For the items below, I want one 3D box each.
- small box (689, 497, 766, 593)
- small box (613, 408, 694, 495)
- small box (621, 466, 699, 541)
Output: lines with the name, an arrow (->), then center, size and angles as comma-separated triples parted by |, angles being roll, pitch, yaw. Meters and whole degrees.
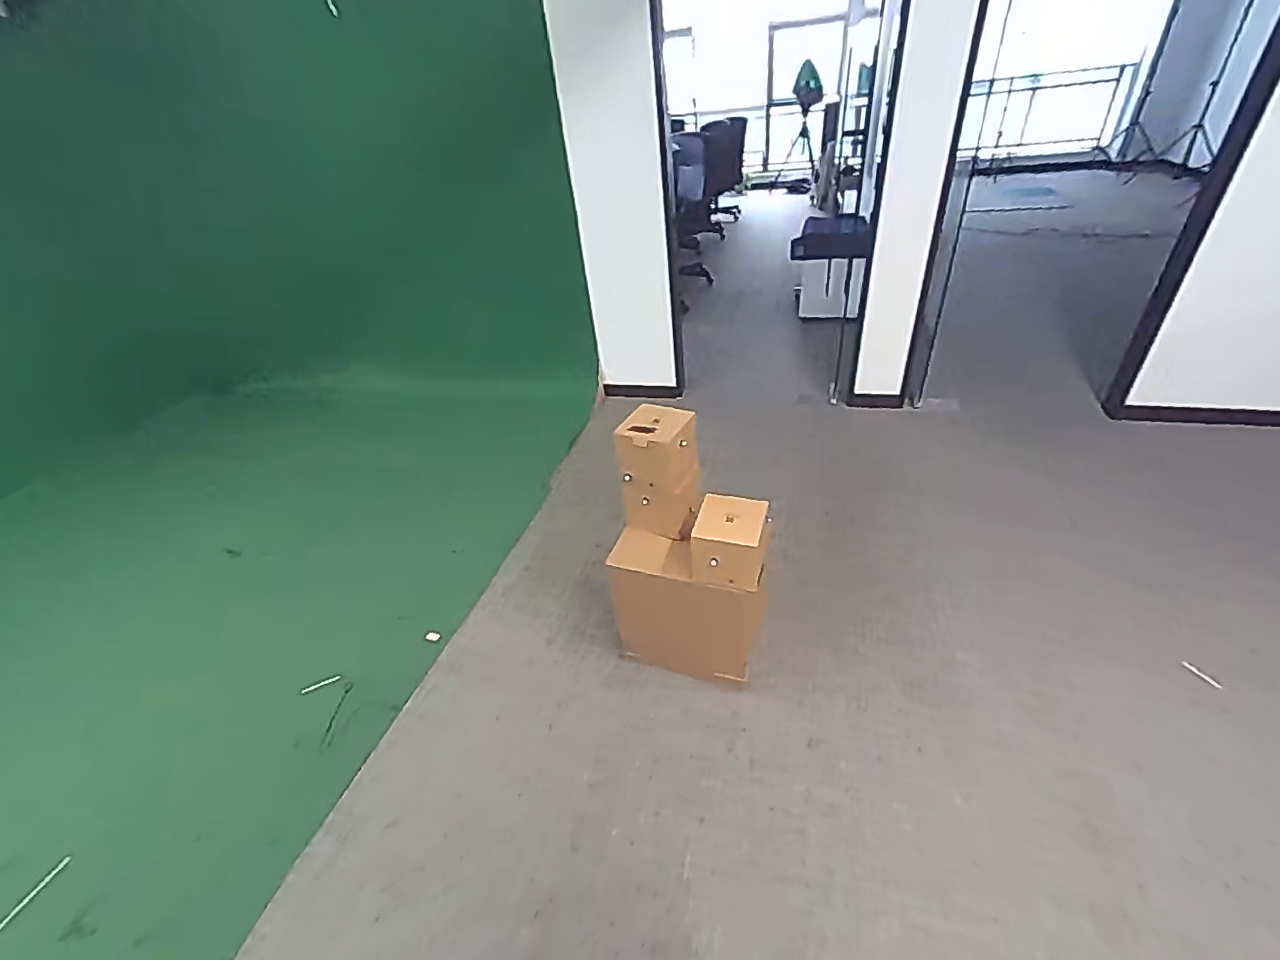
small box -> 0.233, 0.169, 1.411 | 0.168, 0.176, 0.179 | 7, 38, 18
small box -> 0.046, -0.080, 1.504 | 0.168, 0.176, 0.179 | 14, 39, 26
small box -> 0.063, 0.056, 1.596 | 0.179, 0.176, 0.168 | 13, 40, 24
